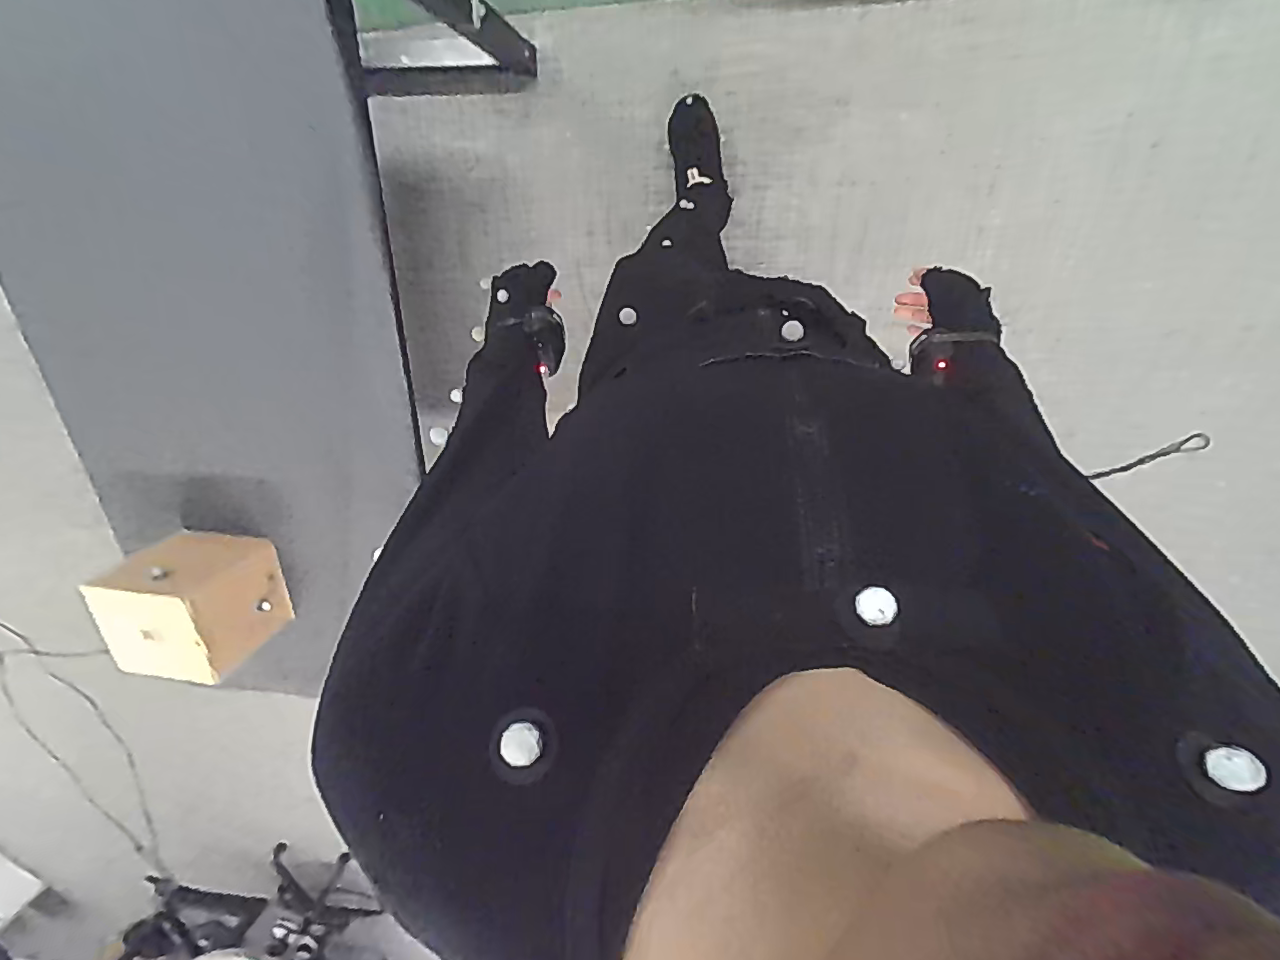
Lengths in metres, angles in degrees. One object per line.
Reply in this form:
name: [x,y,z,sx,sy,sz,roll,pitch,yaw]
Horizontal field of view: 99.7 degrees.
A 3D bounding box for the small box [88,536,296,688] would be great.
small box: [-0.713,0.206,0.884,0.179,0.176,0.168,5,115,7]
